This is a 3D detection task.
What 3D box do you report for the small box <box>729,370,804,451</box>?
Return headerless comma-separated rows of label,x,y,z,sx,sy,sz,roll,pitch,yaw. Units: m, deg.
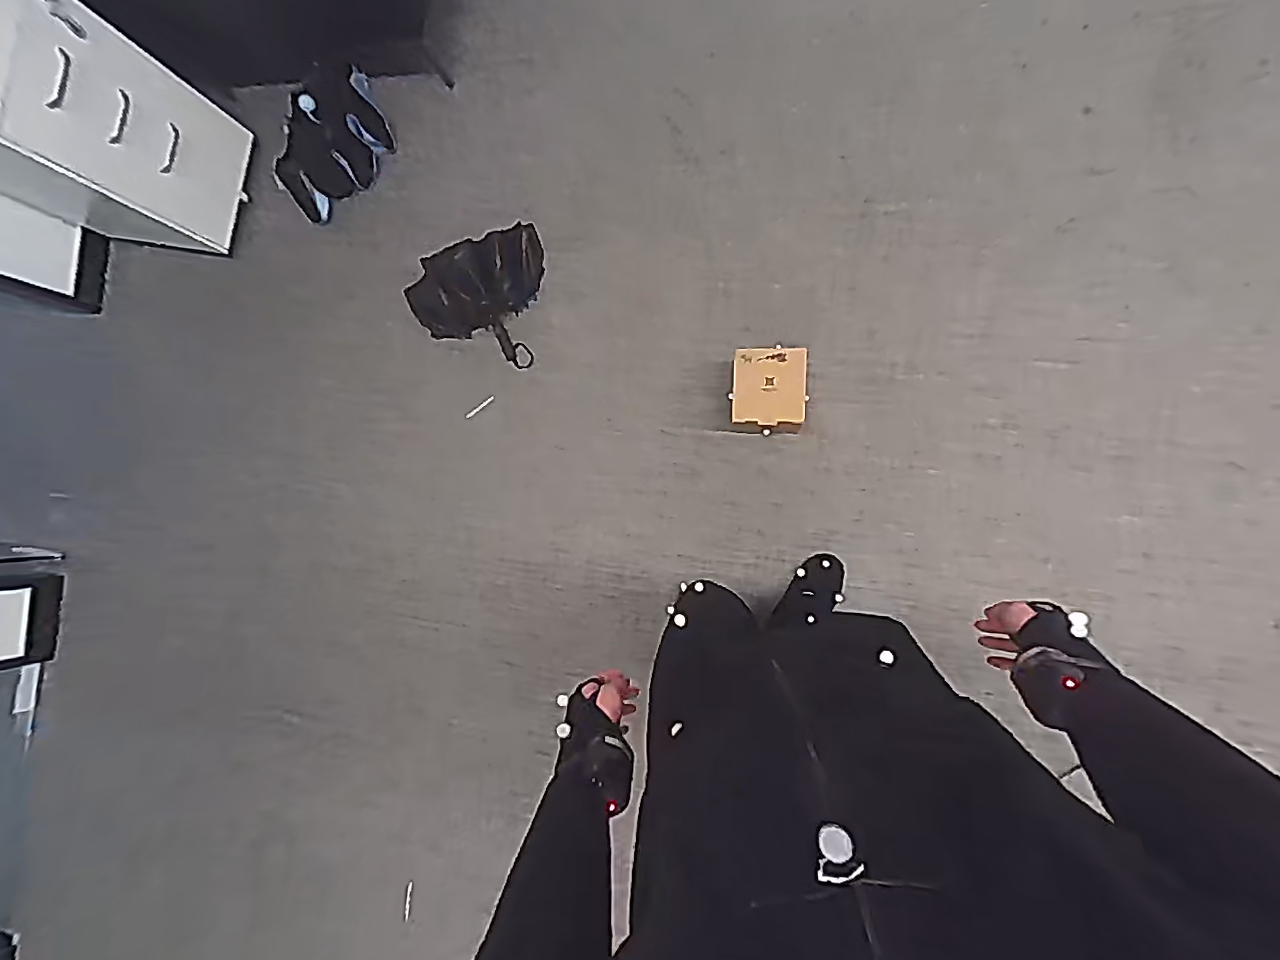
small box,0.312,-0.165,1.338,0.168,0.176,0.179,2,87,11
